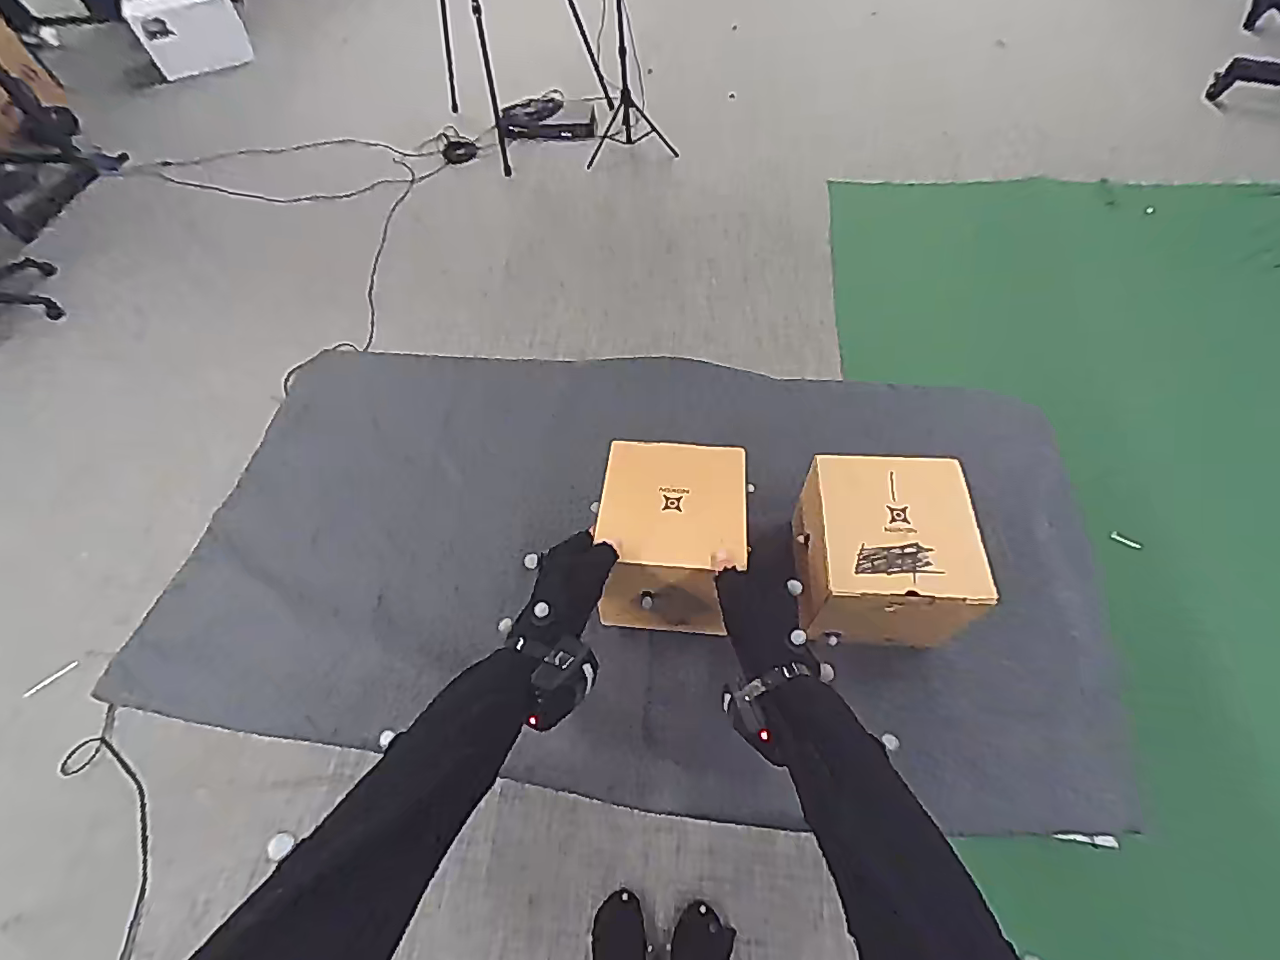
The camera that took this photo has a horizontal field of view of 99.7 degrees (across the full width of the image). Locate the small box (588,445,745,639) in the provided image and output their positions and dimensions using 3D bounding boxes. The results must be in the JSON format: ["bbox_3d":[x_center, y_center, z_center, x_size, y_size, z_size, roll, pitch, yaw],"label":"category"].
[{"bbox_3d":[0.038,0.079,0.665,0.168,0.176,0.179,3,49,5],"label":"small box"}]
